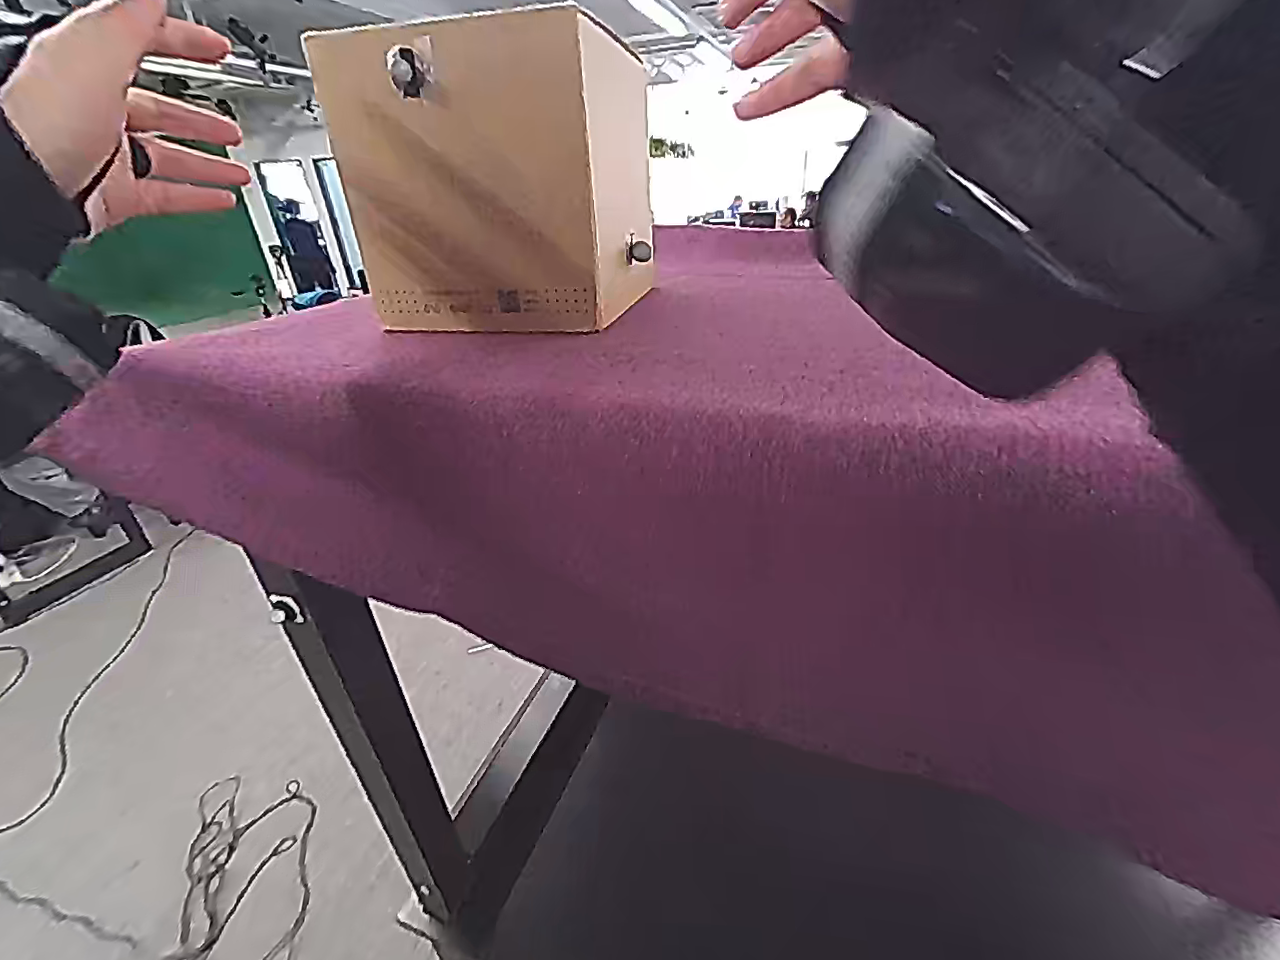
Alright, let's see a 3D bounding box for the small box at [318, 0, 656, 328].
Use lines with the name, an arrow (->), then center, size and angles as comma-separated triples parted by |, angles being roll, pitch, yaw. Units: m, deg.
small box -> -0.085, -0.216, 0.397 | 0.168, 0.176, 0.179 | 4, 29, 12
